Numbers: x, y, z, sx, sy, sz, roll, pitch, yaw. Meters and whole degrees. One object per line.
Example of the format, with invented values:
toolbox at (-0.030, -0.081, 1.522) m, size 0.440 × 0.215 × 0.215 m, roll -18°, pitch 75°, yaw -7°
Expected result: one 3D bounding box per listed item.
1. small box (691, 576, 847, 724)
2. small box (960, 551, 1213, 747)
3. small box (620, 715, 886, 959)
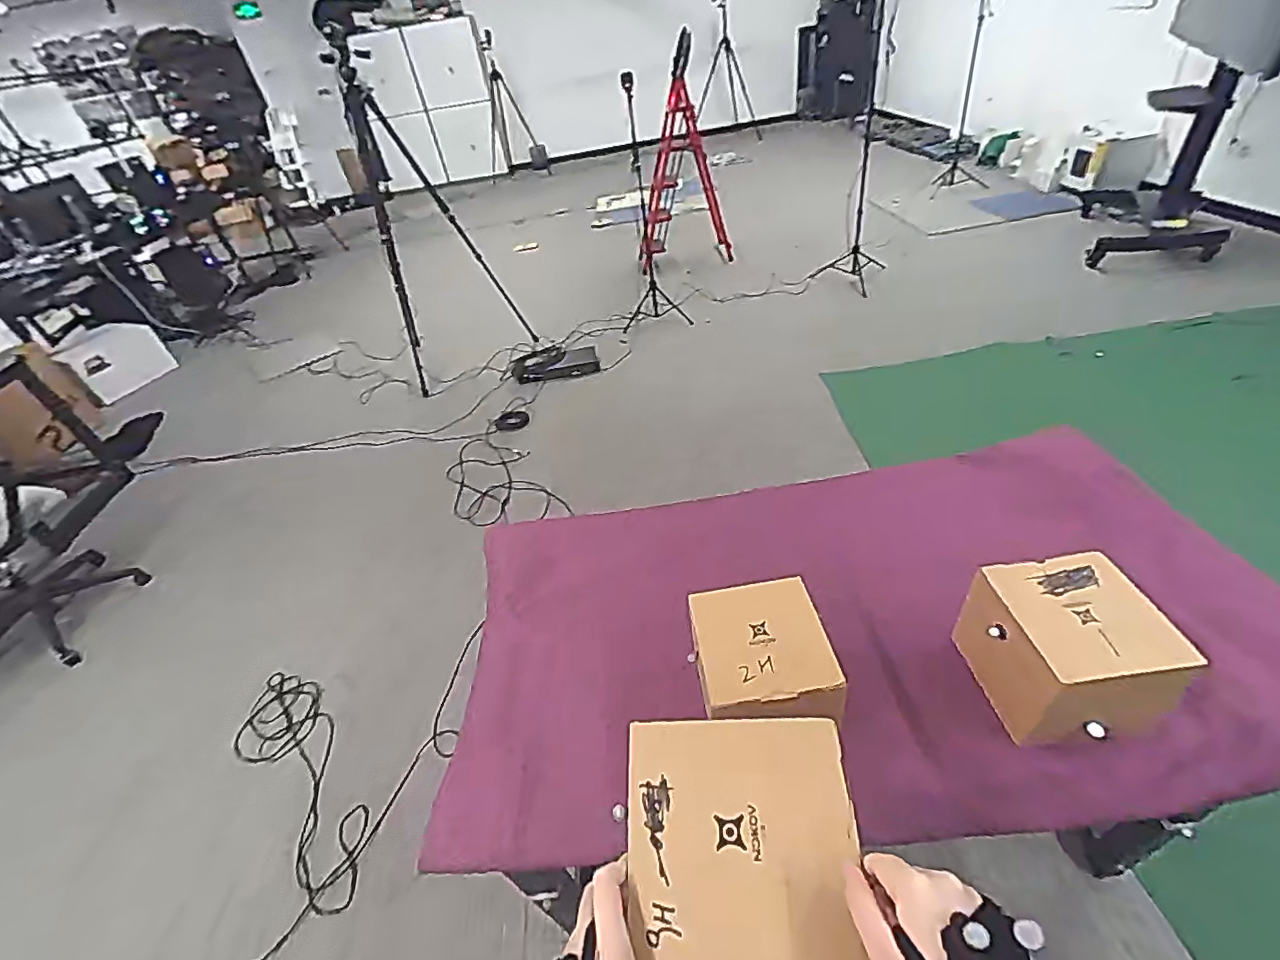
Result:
small box at (0.169, 0.264, 0.752) m, size 0.168 × 0.176 × 0.179 m, roll -11°, pitch 38°, yaw 2°
small box at (0.559, 0.222, 0.715) m, size 0.168 × 0.176 × 0.179 m, roll -9°, pitch 40°, yaw 2°
small box at (0.082, 0.311, 0.462) m, size 0.179 × 0.176 × 0.168 m, roll -3°, pitch 50°, yaw 5°
